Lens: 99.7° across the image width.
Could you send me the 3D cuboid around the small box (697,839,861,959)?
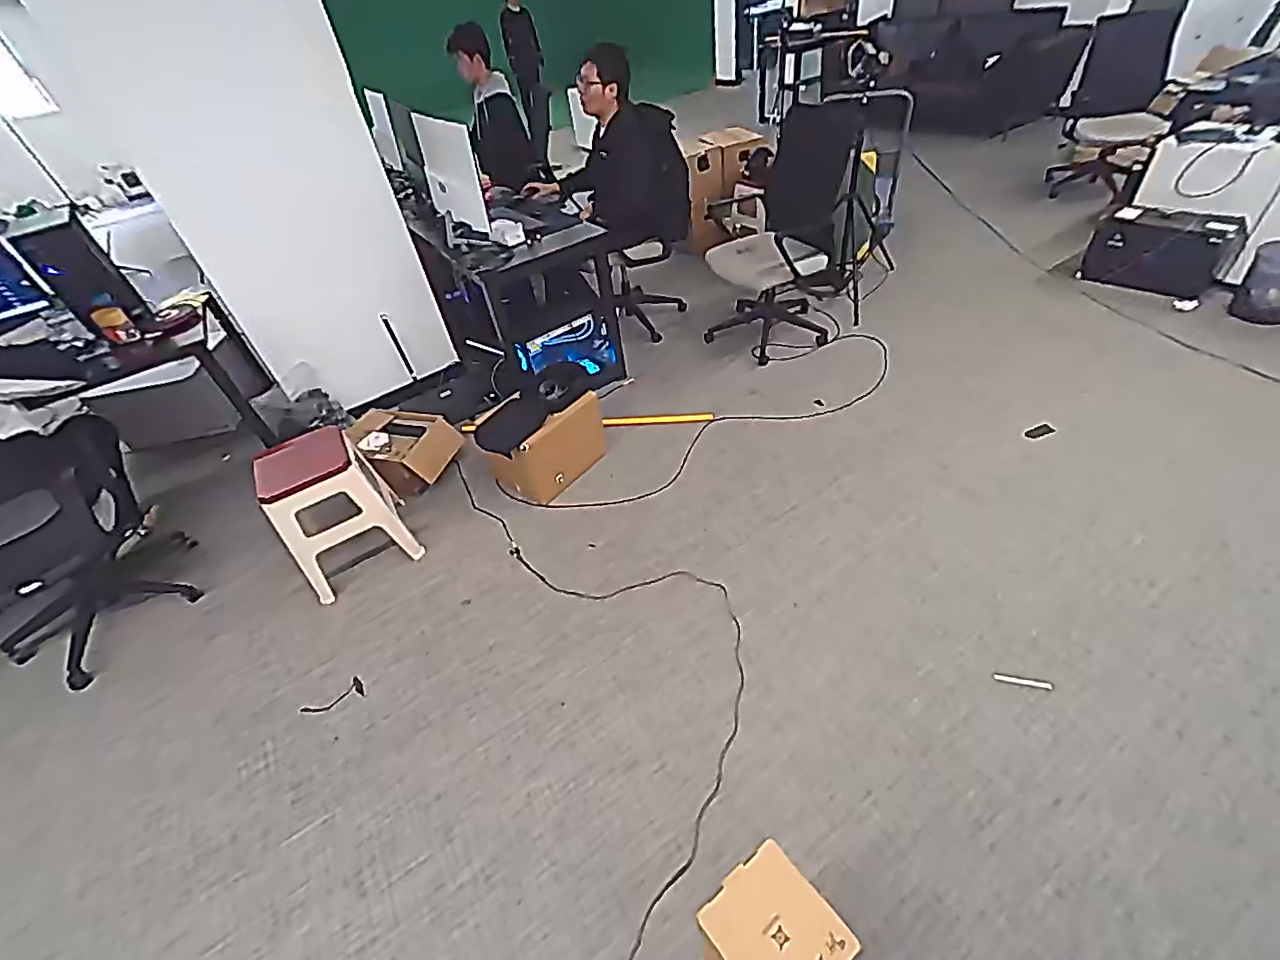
[{"bbox_3d":[0.206,0.714,0.838,0.168,0.176,0.179,-32,48,-23],"label":"small box"}]
